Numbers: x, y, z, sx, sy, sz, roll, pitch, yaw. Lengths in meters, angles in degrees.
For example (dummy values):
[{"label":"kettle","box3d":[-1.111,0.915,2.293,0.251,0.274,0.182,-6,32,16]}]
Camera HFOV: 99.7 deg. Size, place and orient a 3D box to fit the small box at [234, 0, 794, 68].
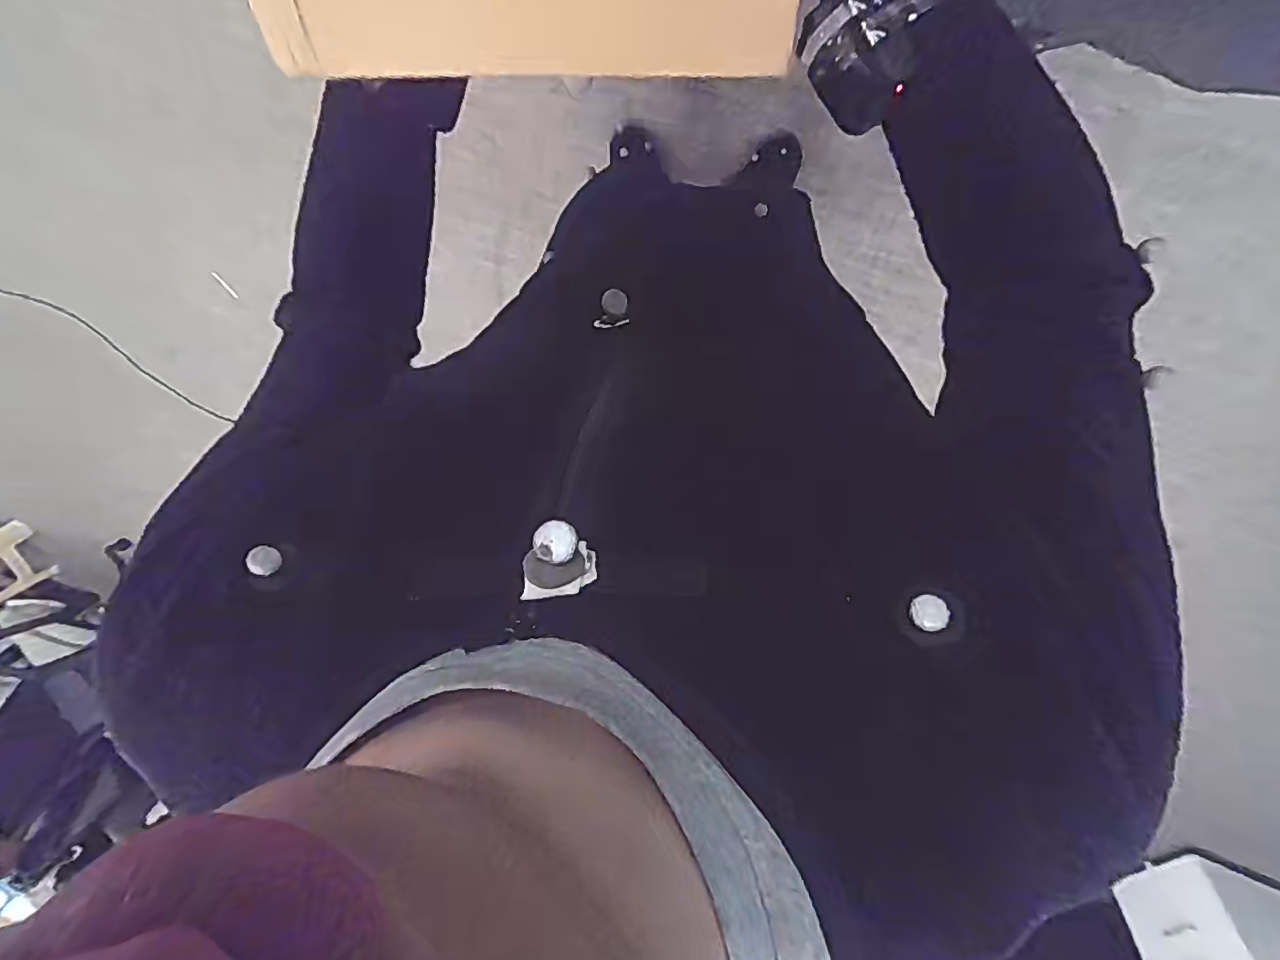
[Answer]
[{"label":"small box","box3d":[-0.029,-0.244,0.162,0.168,0.176,0.179,5,134,6]}]
